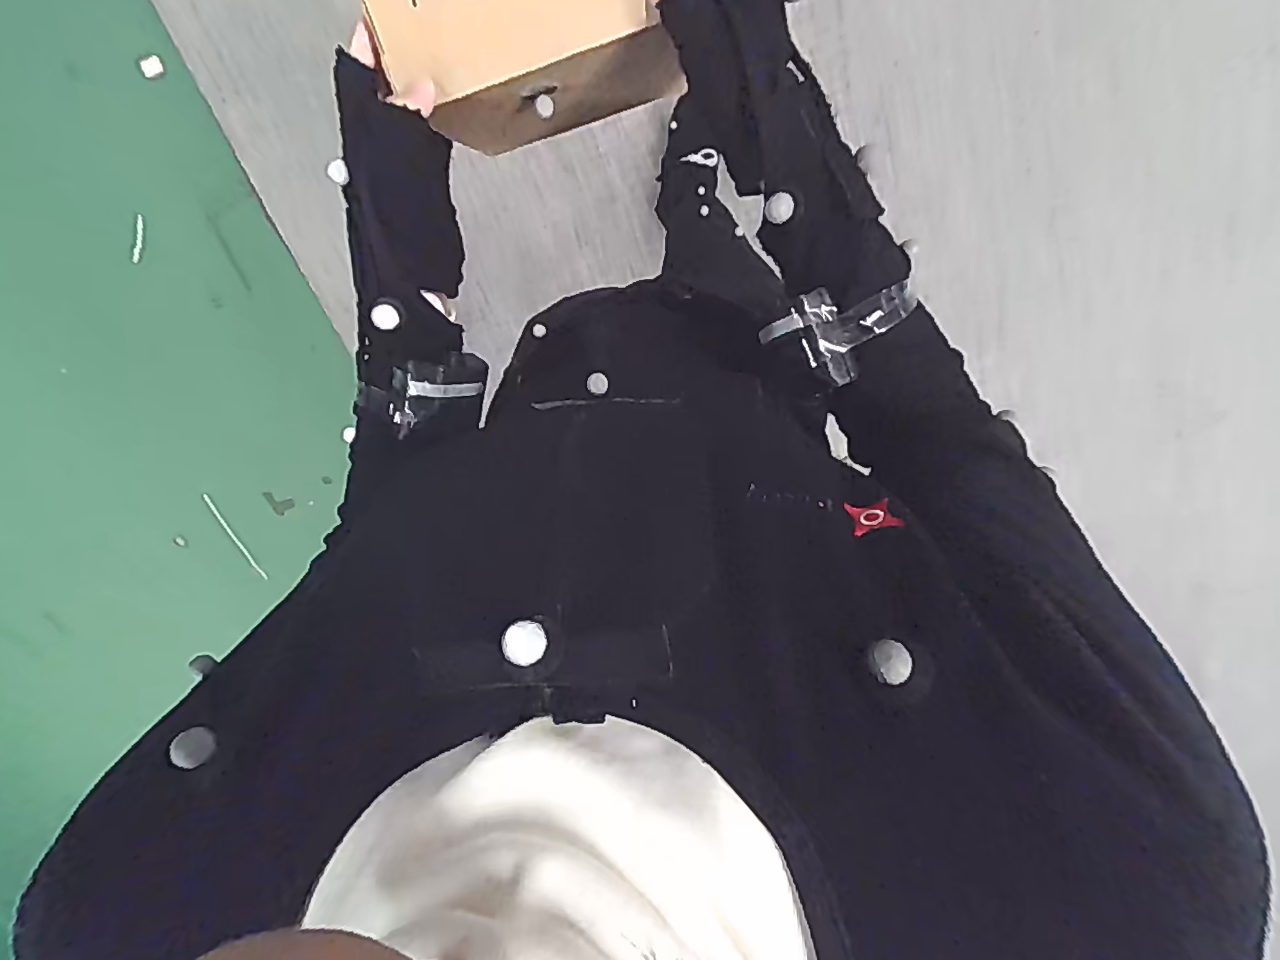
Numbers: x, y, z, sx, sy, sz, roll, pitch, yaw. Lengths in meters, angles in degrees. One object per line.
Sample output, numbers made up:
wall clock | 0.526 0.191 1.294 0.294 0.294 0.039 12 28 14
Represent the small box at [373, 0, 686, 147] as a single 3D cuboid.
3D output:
small box | -0.071 -0.347 0.361 0.179 0.176 0.168 -14 113 9
